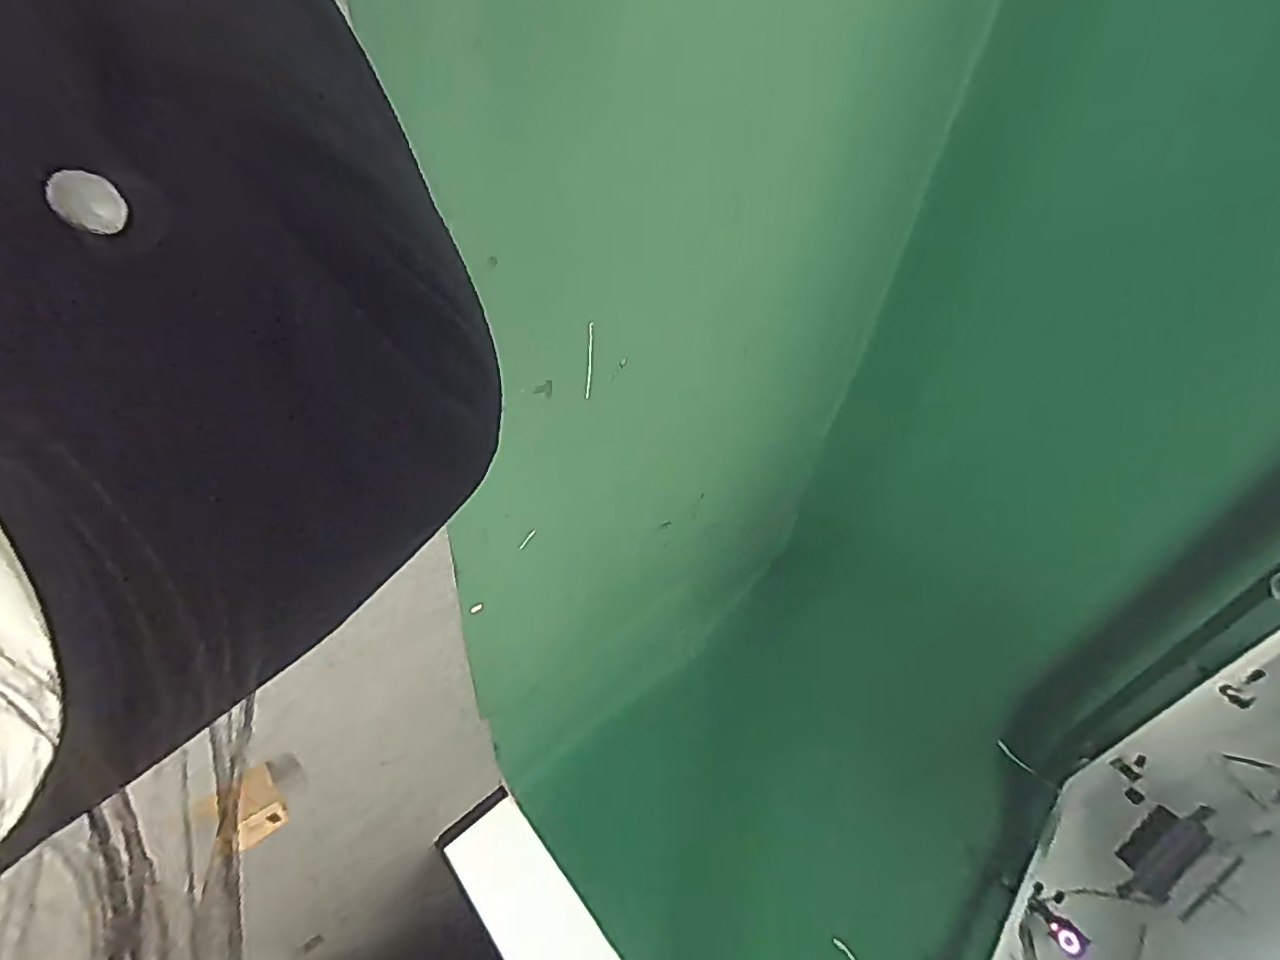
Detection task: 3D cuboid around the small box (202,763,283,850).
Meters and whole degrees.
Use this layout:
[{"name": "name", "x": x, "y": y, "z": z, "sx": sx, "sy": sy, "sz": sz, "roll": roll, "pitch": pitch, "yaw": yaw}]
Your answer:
[{"name": "small box", "x": -1.409, "y": 1.149, "z": 1.917, "sx": 0.179, "sy": 0.176, "sz": 0.168, "roll": -25, "pitch": 139, "yaw": -36}]
